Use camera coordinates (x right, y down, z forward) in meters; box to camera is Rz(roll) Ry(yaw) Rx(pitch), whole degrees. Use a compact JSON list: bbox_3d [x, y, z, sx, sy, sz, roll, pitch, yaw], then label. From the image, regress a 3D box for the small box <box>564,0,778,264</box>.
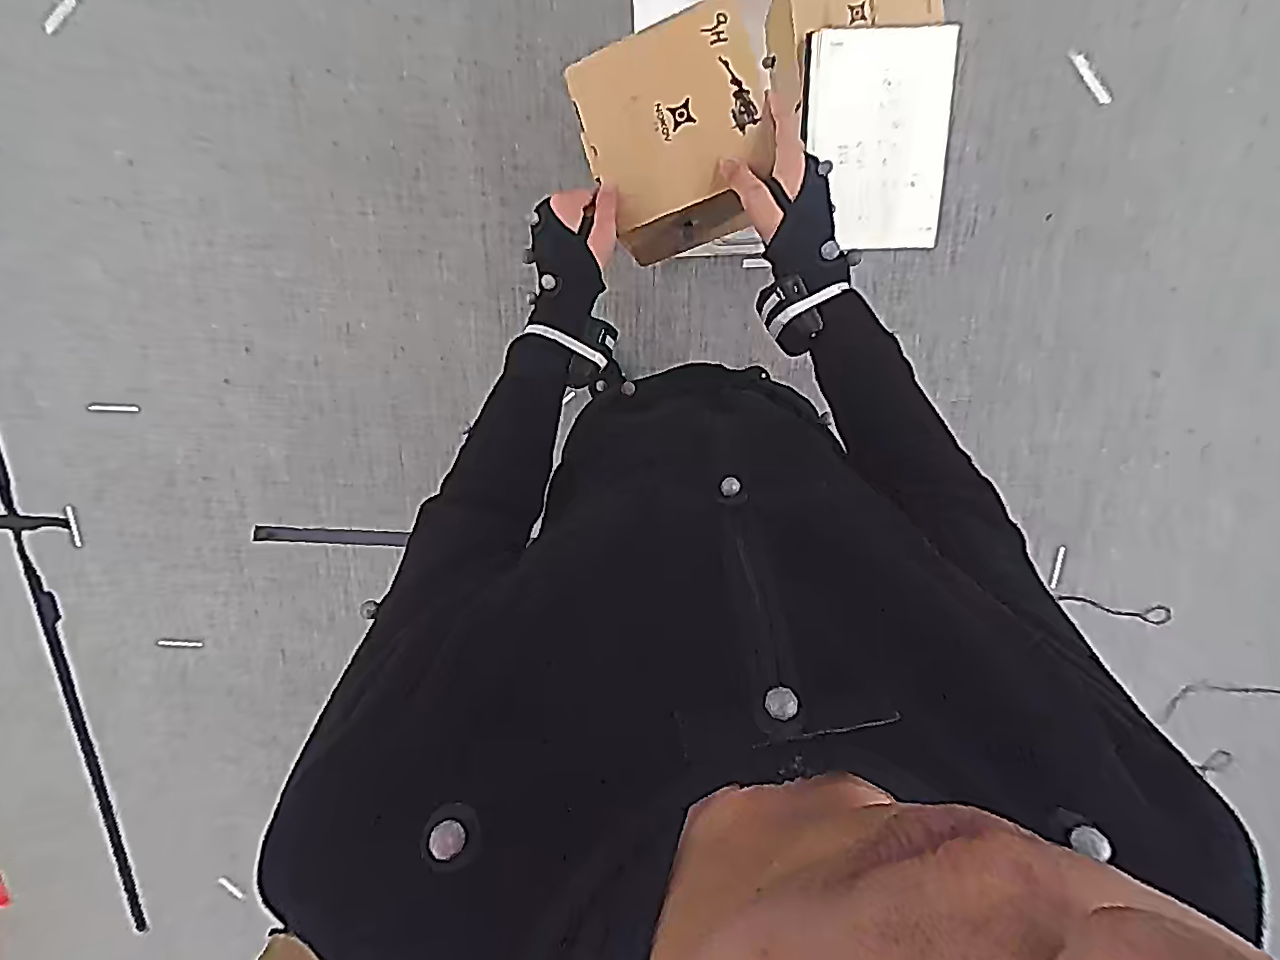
[{"bbox_3d":[0.043,-0.361,0.601,0.179,0.176,0.168,-17,98,12],"label":"small box"}]
